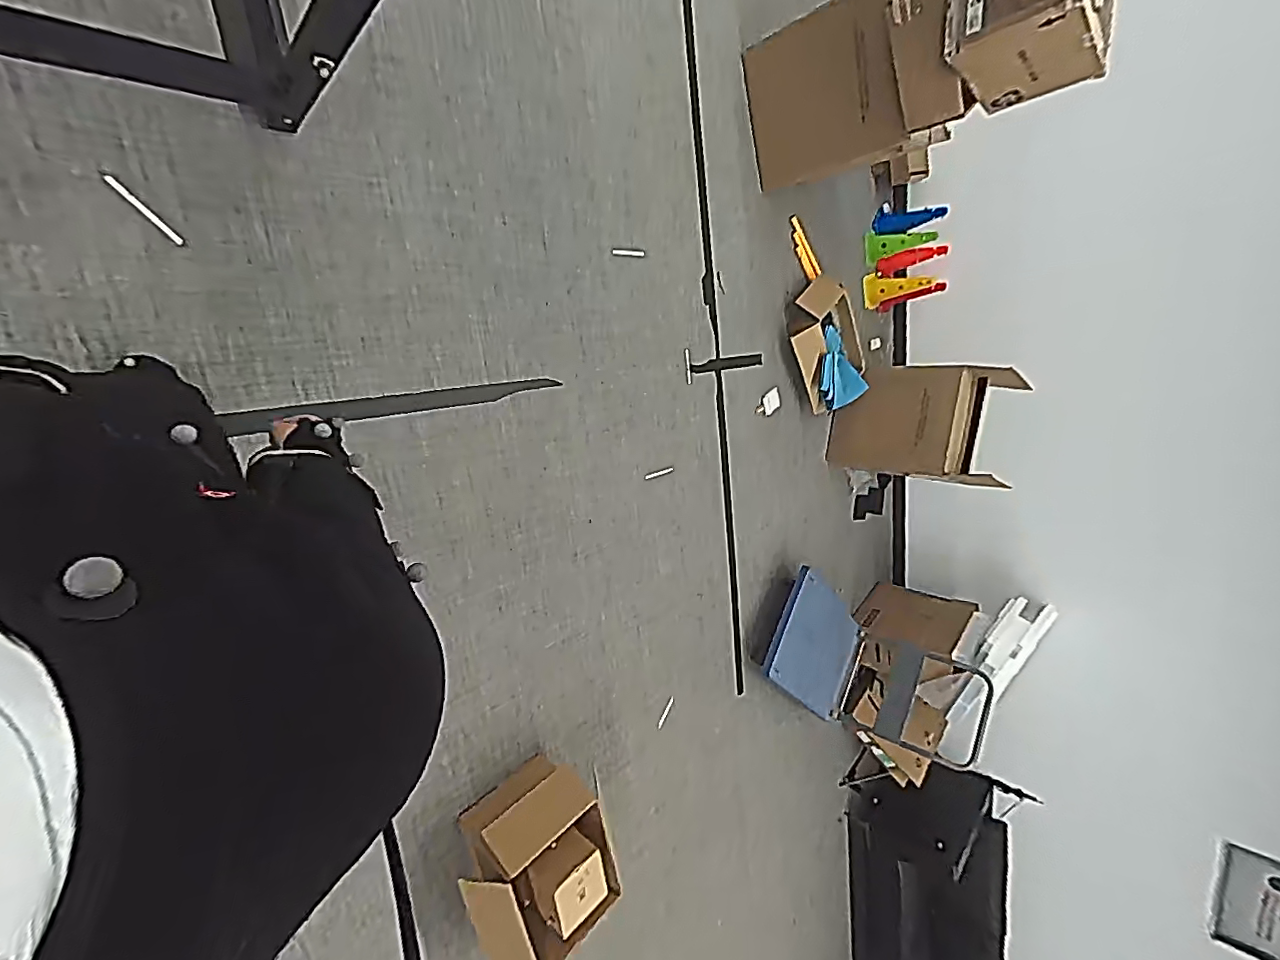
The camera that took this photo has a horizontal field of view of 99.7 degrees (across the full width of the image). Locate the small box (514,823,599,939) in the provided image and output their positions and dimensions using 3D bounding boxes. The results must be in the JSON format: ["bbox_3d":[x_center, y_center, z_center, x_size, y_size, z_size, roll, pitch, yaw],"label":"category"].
[{"bbox_3d":[-0.245,1.156,1.575,0.168,0.176,0.179,-21,109,-43],"label":"small box"}]
